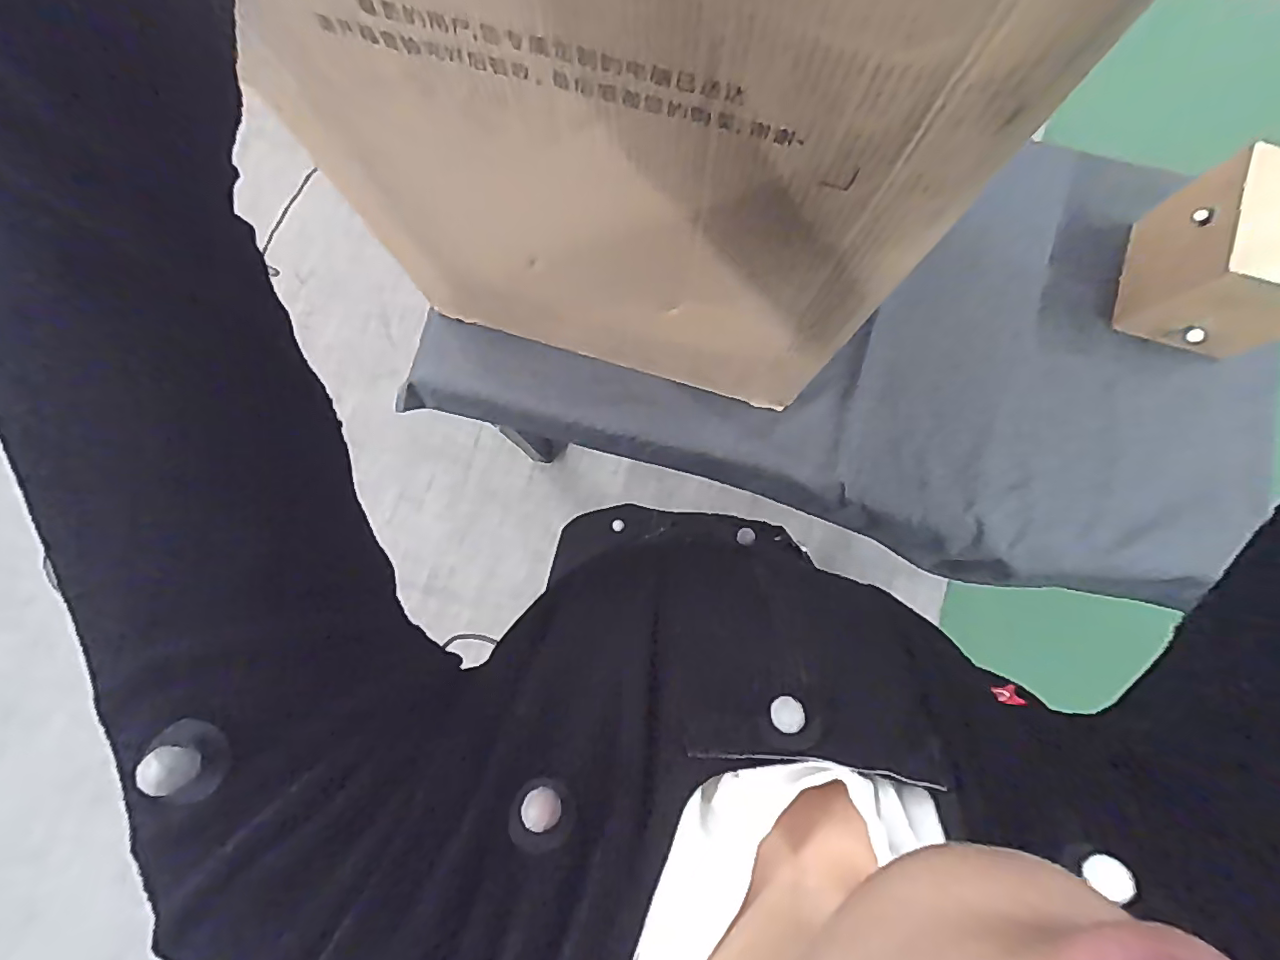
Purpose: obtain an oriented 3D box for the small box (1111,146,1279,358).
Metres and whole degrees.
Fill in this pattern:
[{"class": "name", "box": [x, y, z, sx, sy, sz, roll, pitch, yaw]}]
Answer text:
[{"class": "small box", "box": [0.788, -0.291, 0.723, 0.168, 0.176, 0.179, 18, 83, 3]}]
